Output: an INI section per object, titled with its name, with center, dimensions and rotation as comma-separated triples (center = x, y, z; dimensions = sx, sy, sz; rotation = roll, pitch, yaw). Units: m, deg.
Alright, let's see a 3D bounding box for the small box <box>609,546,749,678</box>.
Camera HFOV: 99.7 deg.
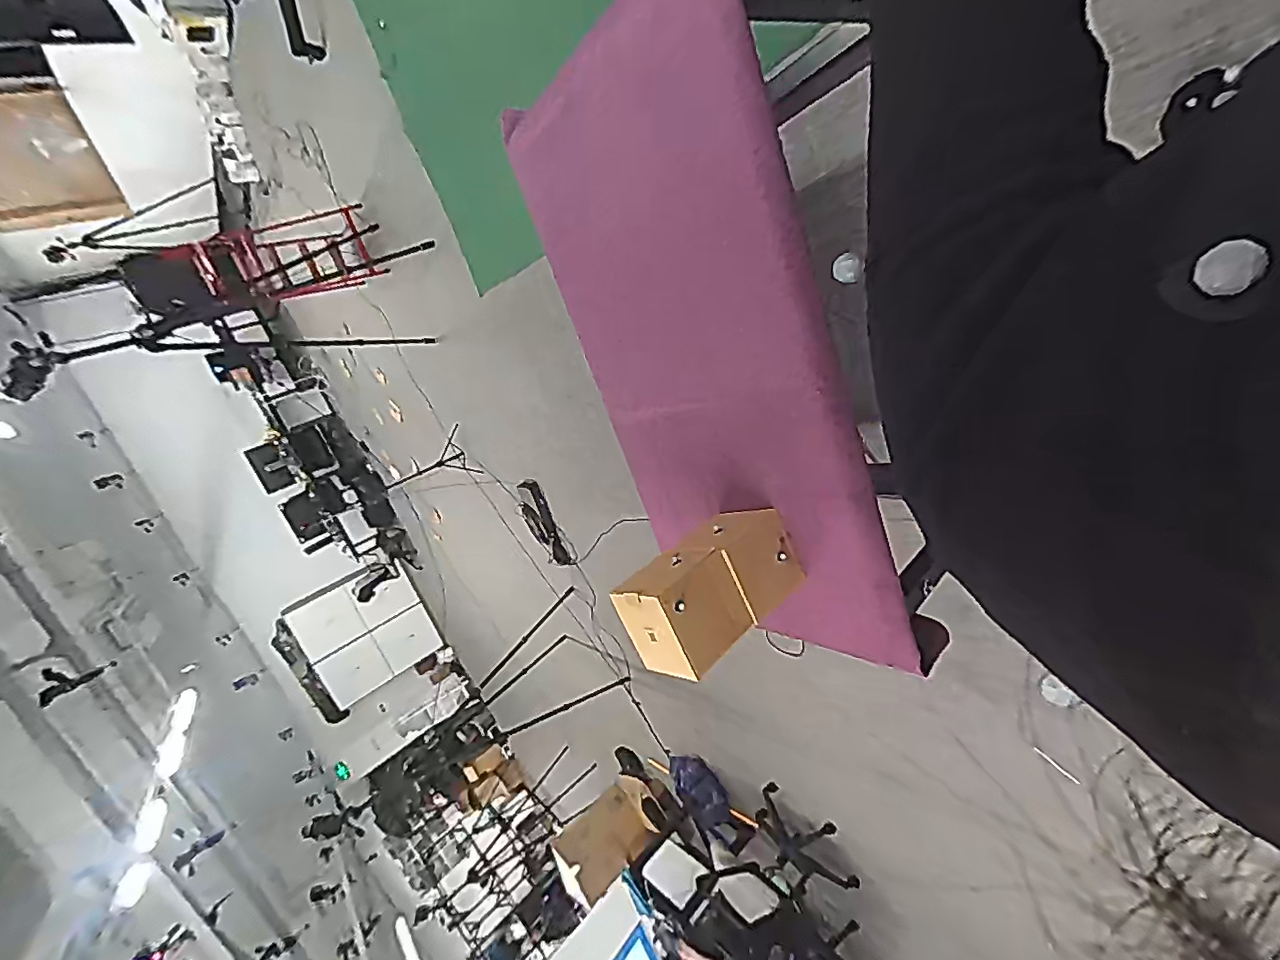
[small box]
center = 0.078, 0.243, 1.034
dimensions = 0.168, 0.176, 0.179
rotation = -14, 103, 56
